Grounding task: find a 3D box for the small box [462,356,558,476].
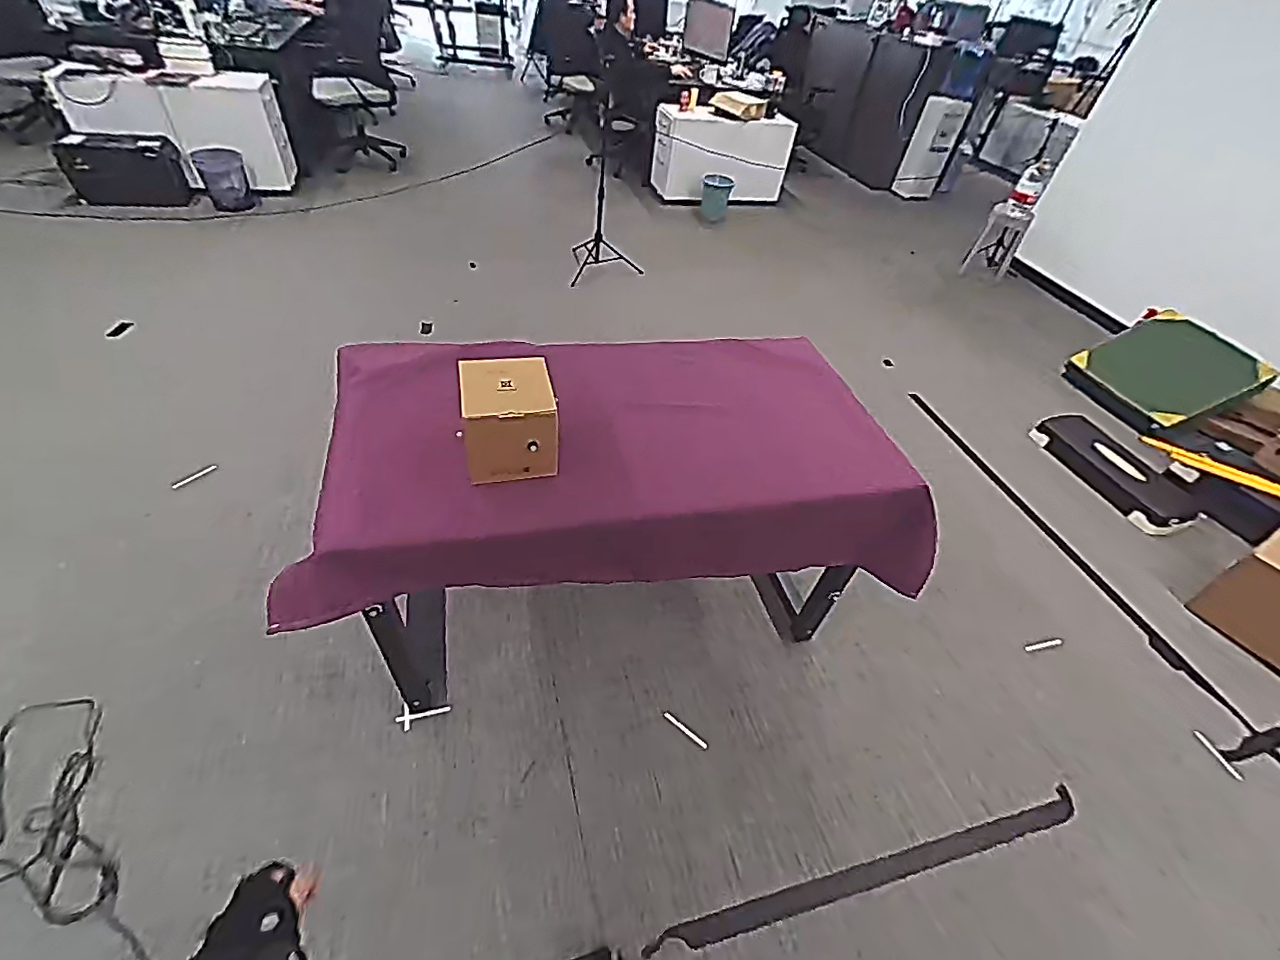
[{"bbox_3d":[-0.252,-0.121,1.056,0.168,0.176,0.179,-6,47,-15],"label":"small box"}]
